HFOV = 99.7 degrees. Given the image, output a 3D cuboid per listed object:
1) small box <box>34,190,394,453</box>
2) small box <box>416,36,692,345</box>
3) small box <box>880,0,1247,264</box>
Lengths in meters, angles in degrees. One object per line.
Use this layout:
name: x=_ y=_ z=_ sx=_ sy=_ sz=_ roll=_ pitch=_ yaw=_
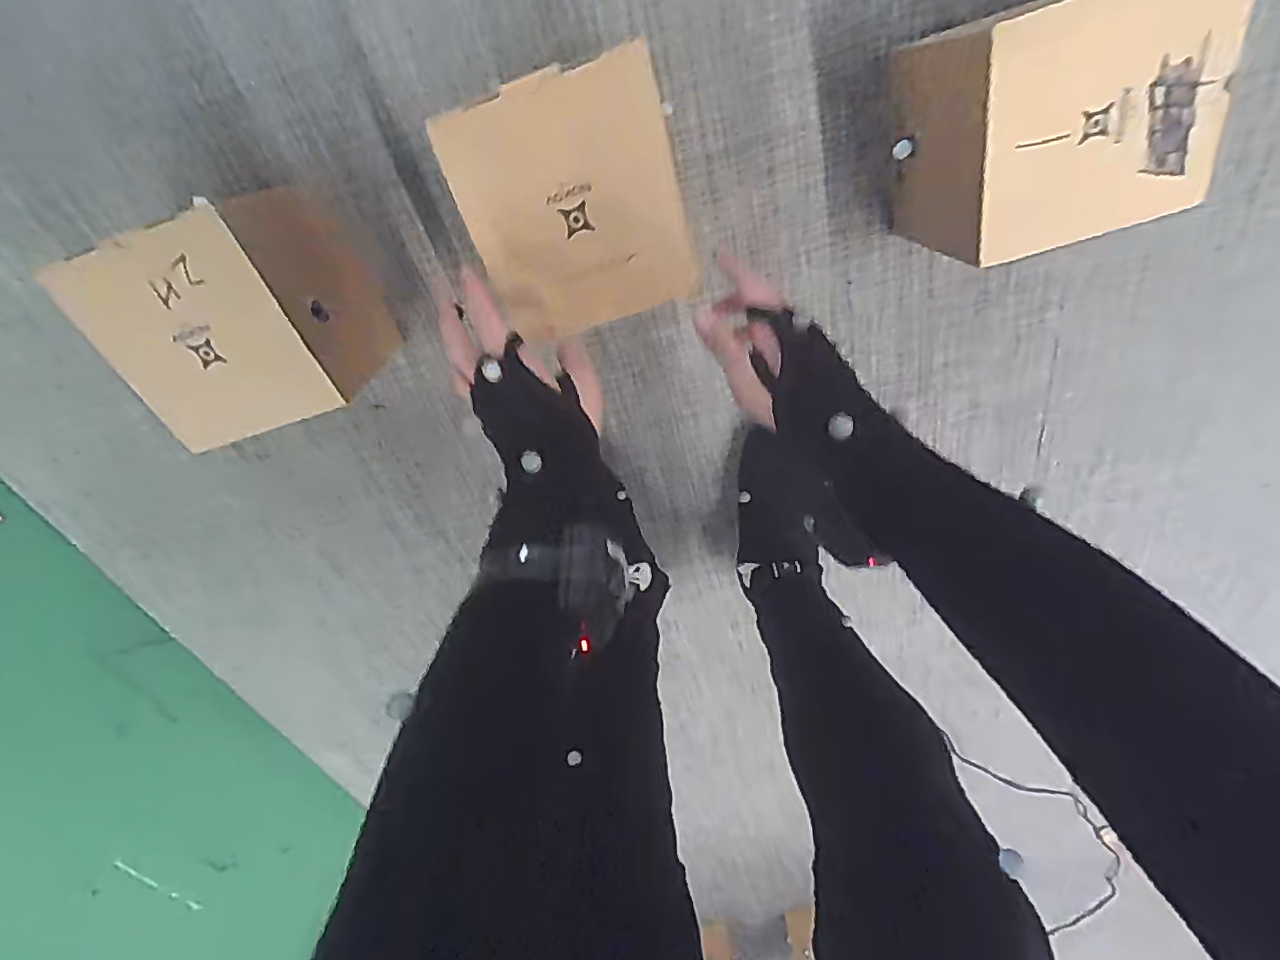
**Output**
small box: x=-0.374 y=-0.157 z=0.522 sx=0.168 sy=0.176 sz=0.179 roll=-16 pitch=122 yaw=7
small box: x=-0.062 y=-0.248 z=0.480 sx=0.168 sy=0.176 sz=0.179 roll=-15 pitch=123 yaw=8
small box: x=0.327 y=-0.306 z=0.456 sx=0.179 sy=0.176 sz=0.168 roll=-15 pitch=122 yaw=7
